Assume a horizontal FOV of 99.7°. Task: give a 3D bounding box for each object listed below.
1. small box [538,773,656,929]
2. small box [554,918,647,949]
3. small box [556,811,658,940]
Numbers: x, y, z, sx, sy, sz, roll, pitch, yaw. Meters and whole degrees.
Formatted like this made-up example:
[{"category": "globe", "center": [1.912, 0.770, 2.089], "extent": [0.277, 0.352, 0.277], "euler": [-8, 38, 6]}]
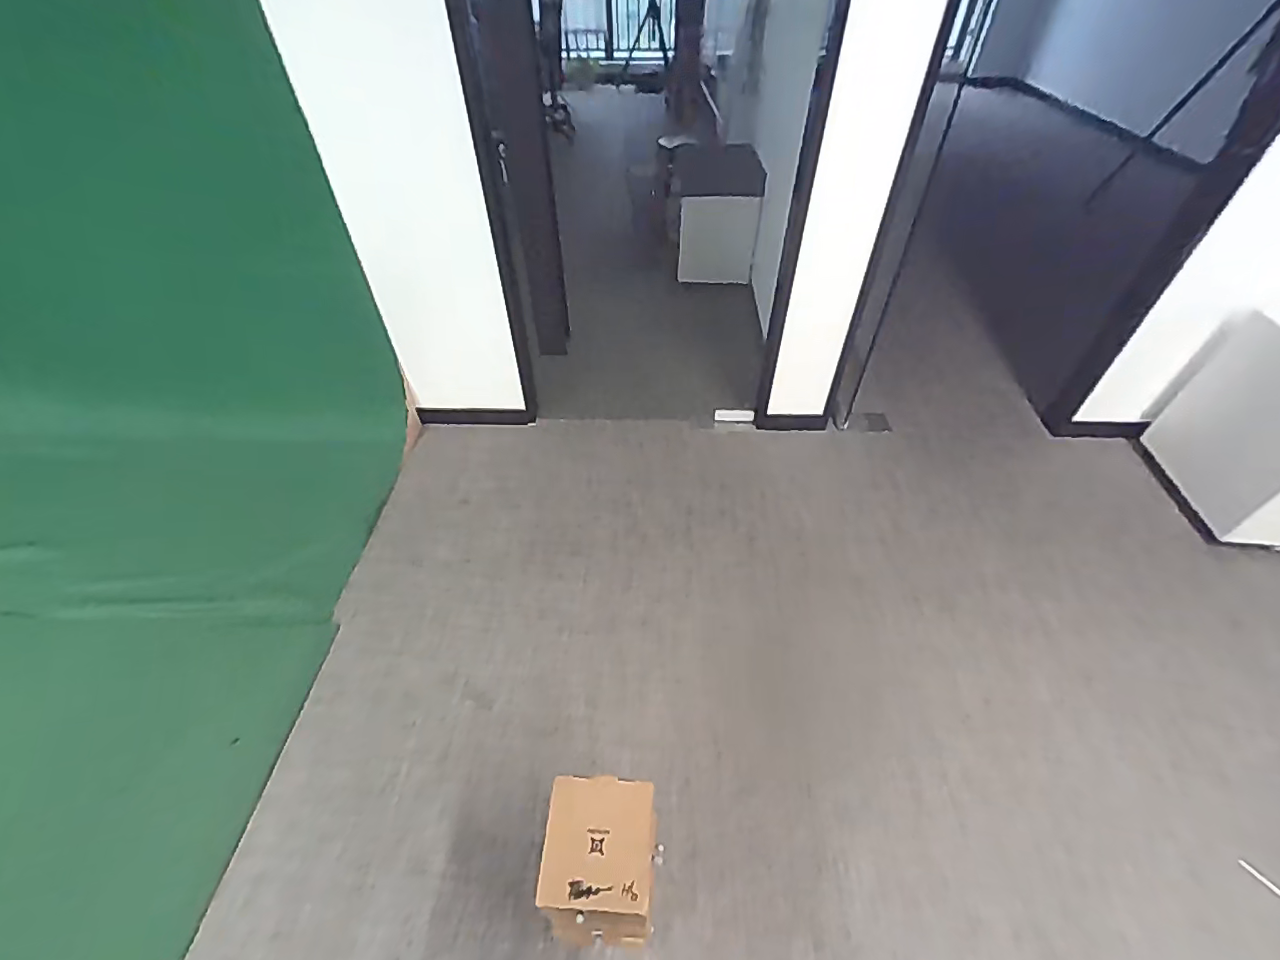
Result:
[{"category": "small box", "center": [-0.060, 0.610, 0.891], "extent": [0.168, 0.176, 0.179], "euler": [2, 44, 4]}, {"category": "small box", "center": [-0.067, 0.847, 1.115], "extent": [0.179, 0.176, 0.168], "euler": [2, 45, 4]}, {"category": "small box", "center": [-0.052, 0.729, 1.005], "extent": [0.168, 0.176, 0.179], "euler": [1, 46, 4]}]
